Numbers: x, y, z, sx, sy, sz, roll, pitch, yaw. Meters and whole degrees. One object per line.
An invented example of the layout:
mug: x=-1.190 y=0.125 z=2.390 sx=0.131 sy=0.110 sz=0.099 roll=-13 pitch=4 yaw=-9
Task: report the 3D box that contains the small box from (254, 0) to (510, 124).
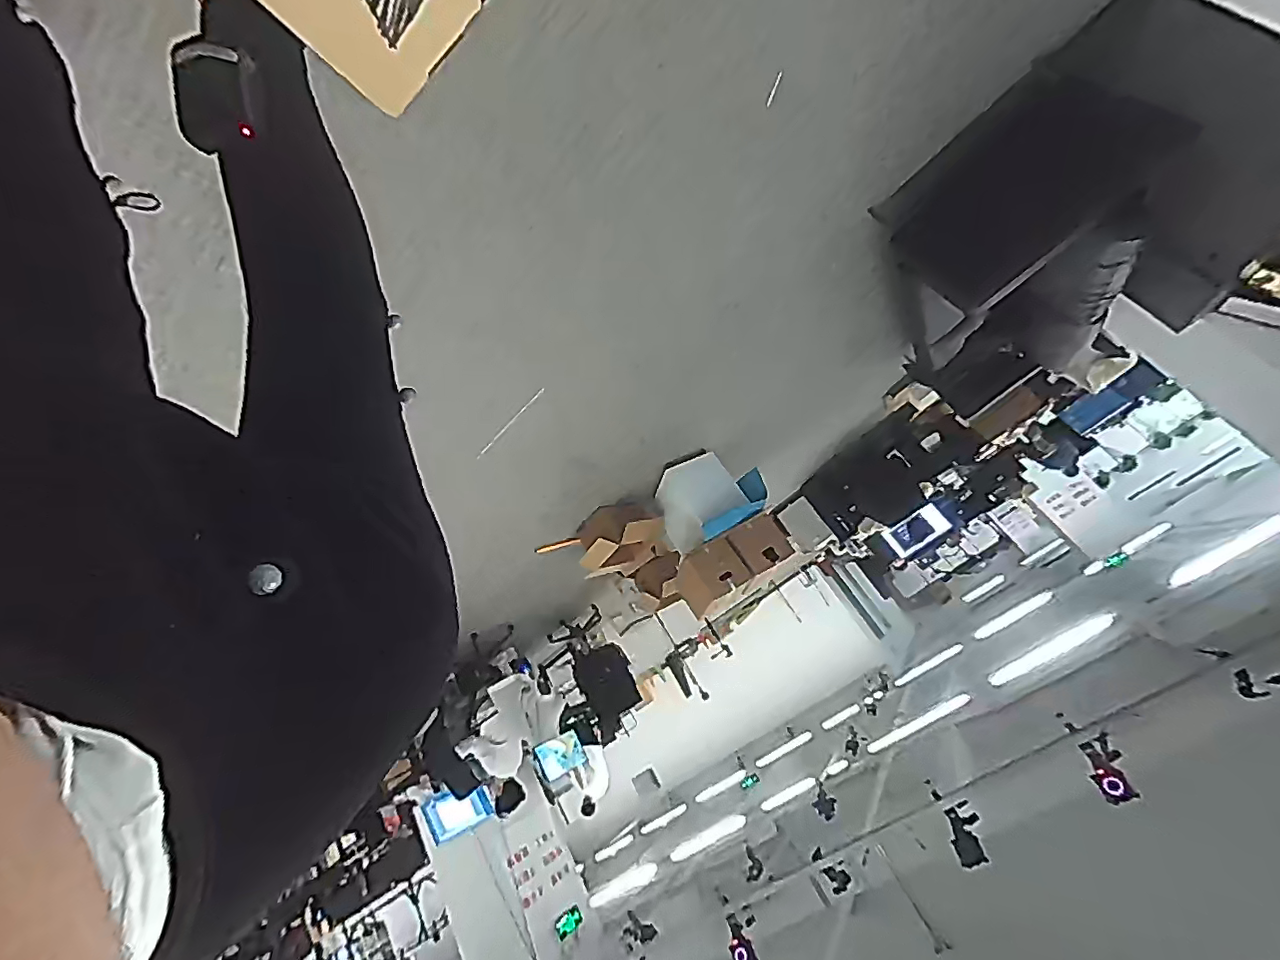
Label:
small box: x=-0.147 y=-0.318 z=0.230 sx=0.168 sy=0.176 sz=0.179 roll=-39 pitch=159 yaw=14
